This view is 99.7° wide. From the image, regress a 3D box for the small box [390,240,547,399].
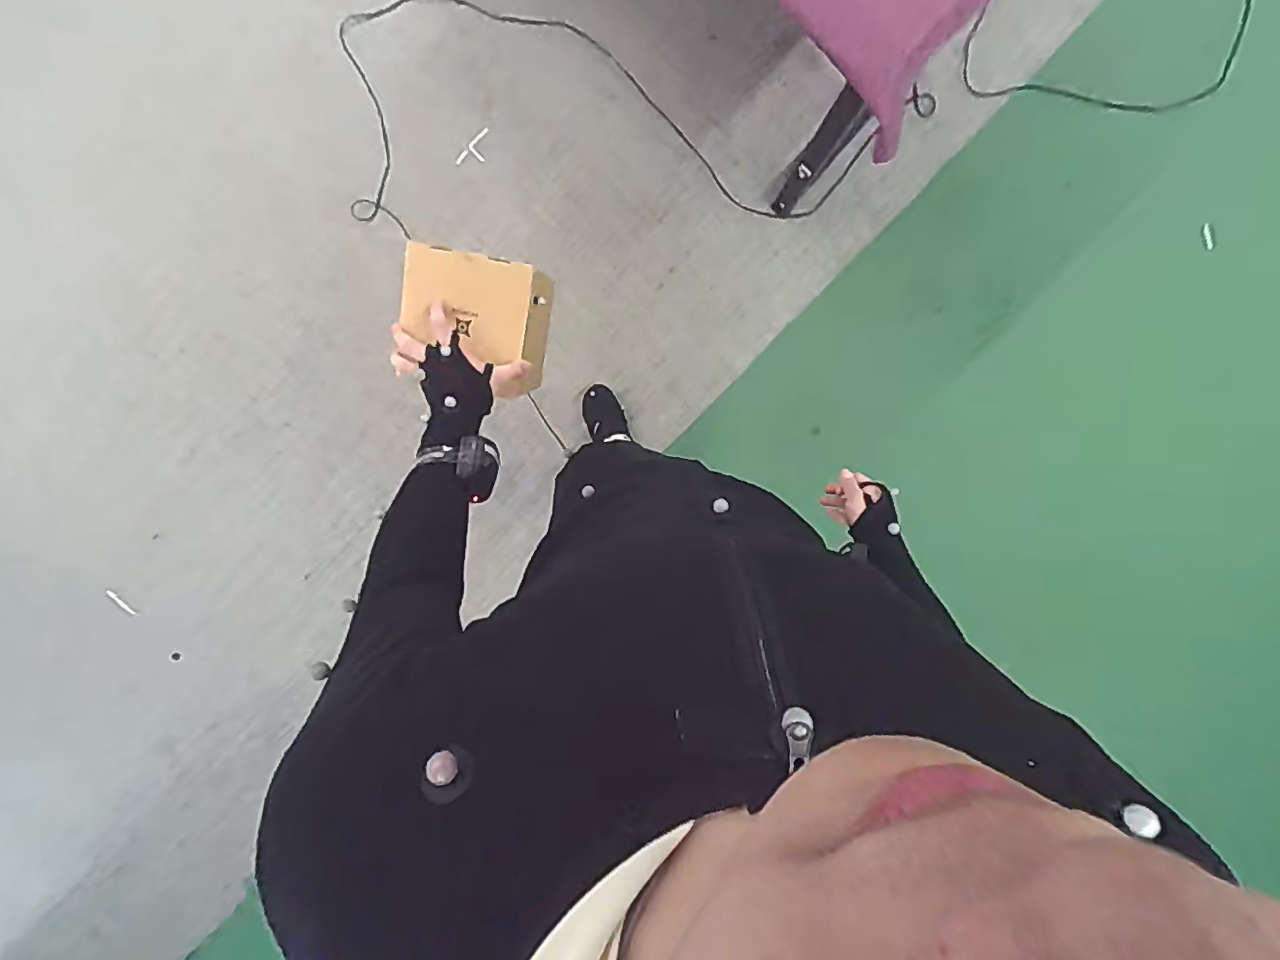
[{"bbox_3d":[-0.237,-0.224,0.780,0.168,0.176,0.179,10,103,-1],"label":"small box"}]
